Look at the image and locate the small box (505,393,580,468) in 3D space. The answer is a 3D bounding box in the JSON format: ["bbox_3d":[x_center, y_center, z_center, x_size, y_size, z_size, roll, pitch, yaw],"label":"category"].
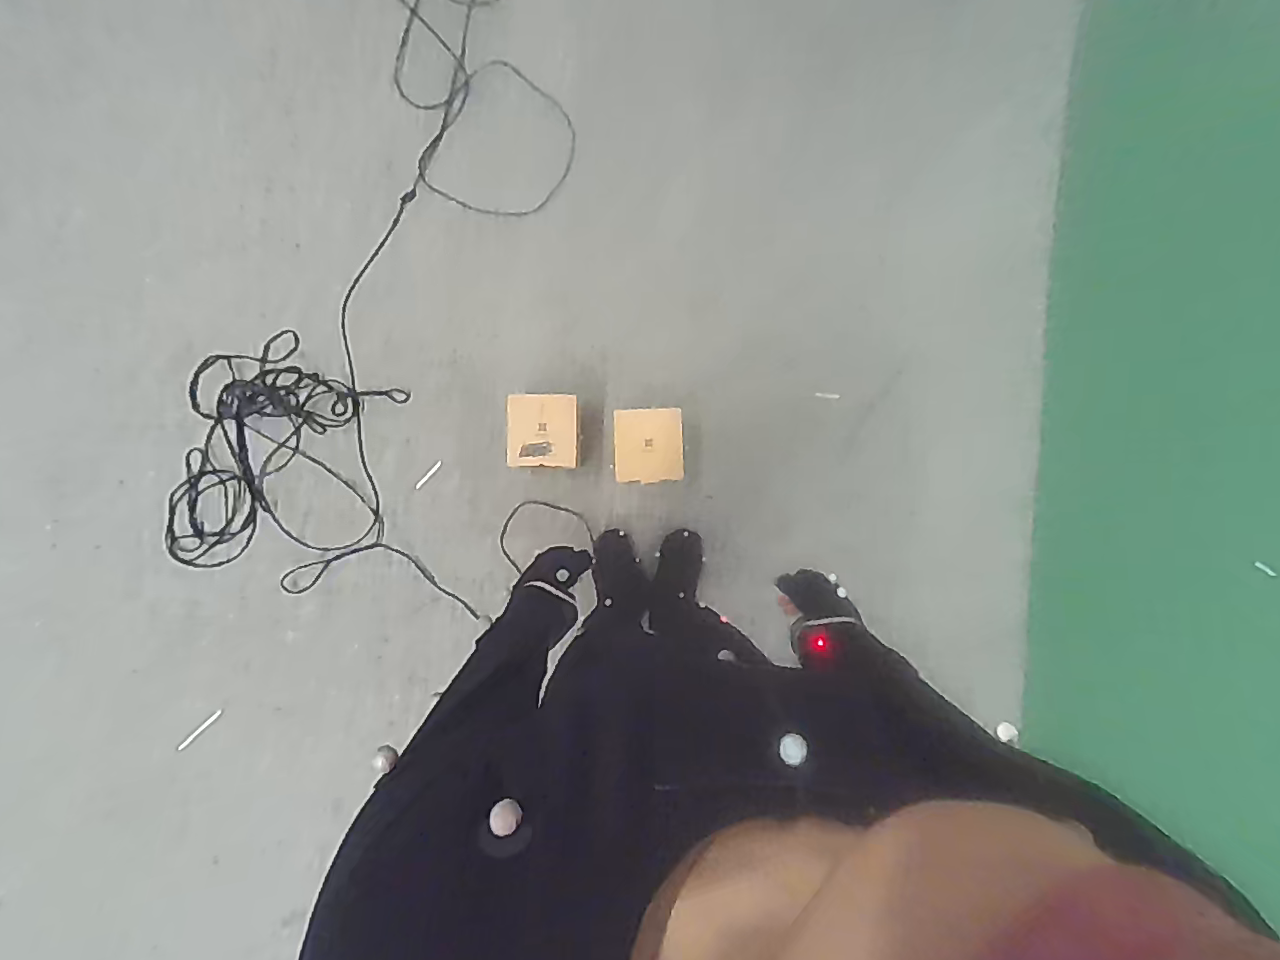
[{"bbox_3d":[-0.238,-0.118,1.353,0.168,0.176,0.179,1,90,-3],"label":"small box"}]

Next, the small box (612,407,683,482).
[{"bbox_3d":[0.015,-0.086,1.368,0.168,0.176,0.179,-2,92,-2],"label":"small box"}]
